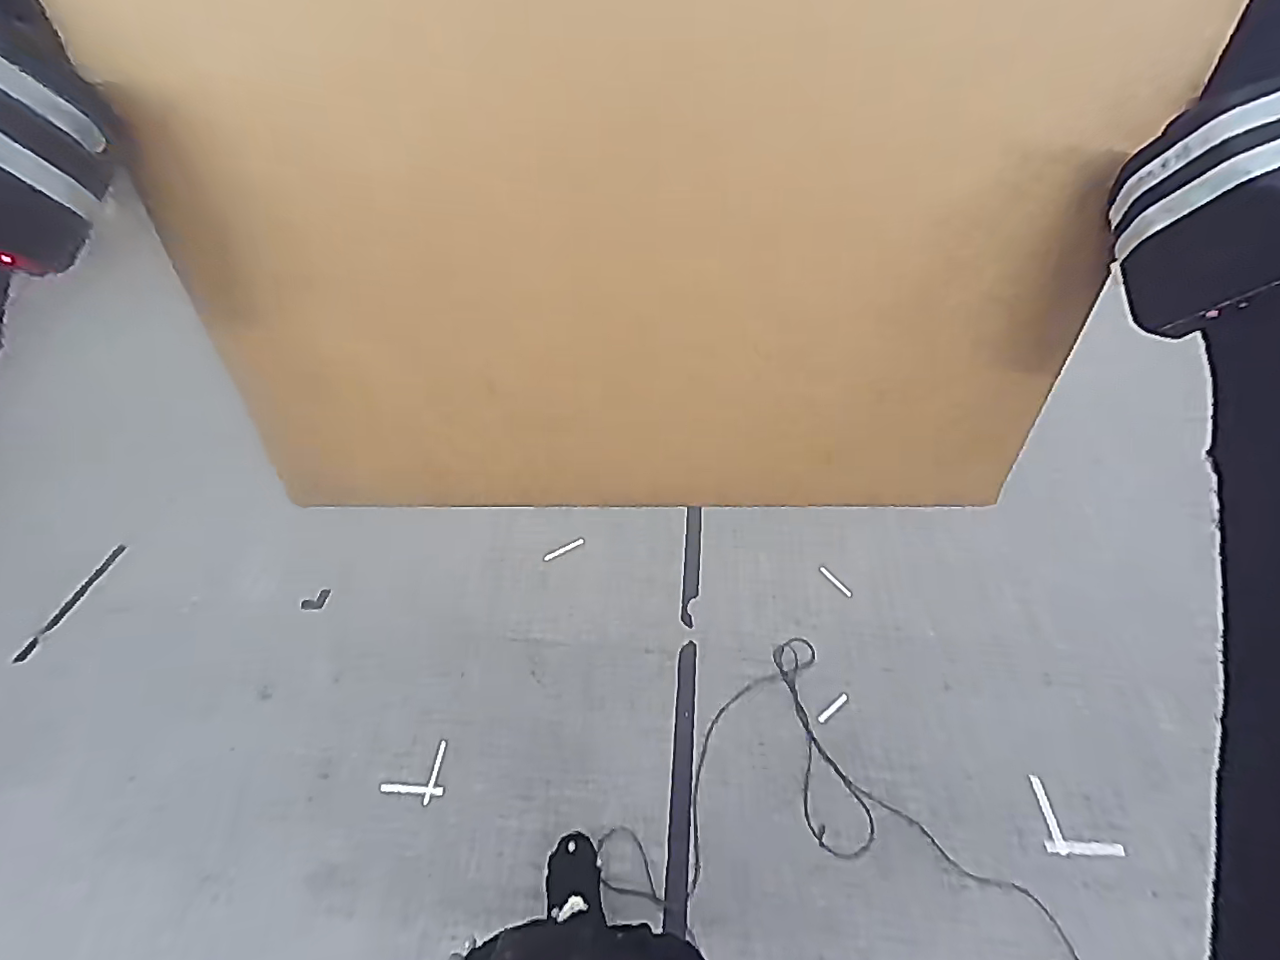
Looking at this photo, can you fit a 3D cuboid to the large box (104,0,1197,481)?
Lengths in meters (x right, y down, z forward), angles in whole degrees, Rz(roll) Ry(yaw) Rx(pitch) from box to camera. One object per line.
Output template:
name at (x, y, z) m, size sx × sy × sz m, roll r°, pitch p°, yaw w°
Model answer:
large box at (0.002, -0.206, 0.349) m, size 0.408 × 0.320 × 0.320 m, roll 1°, pitch 37°, yaw -1°
